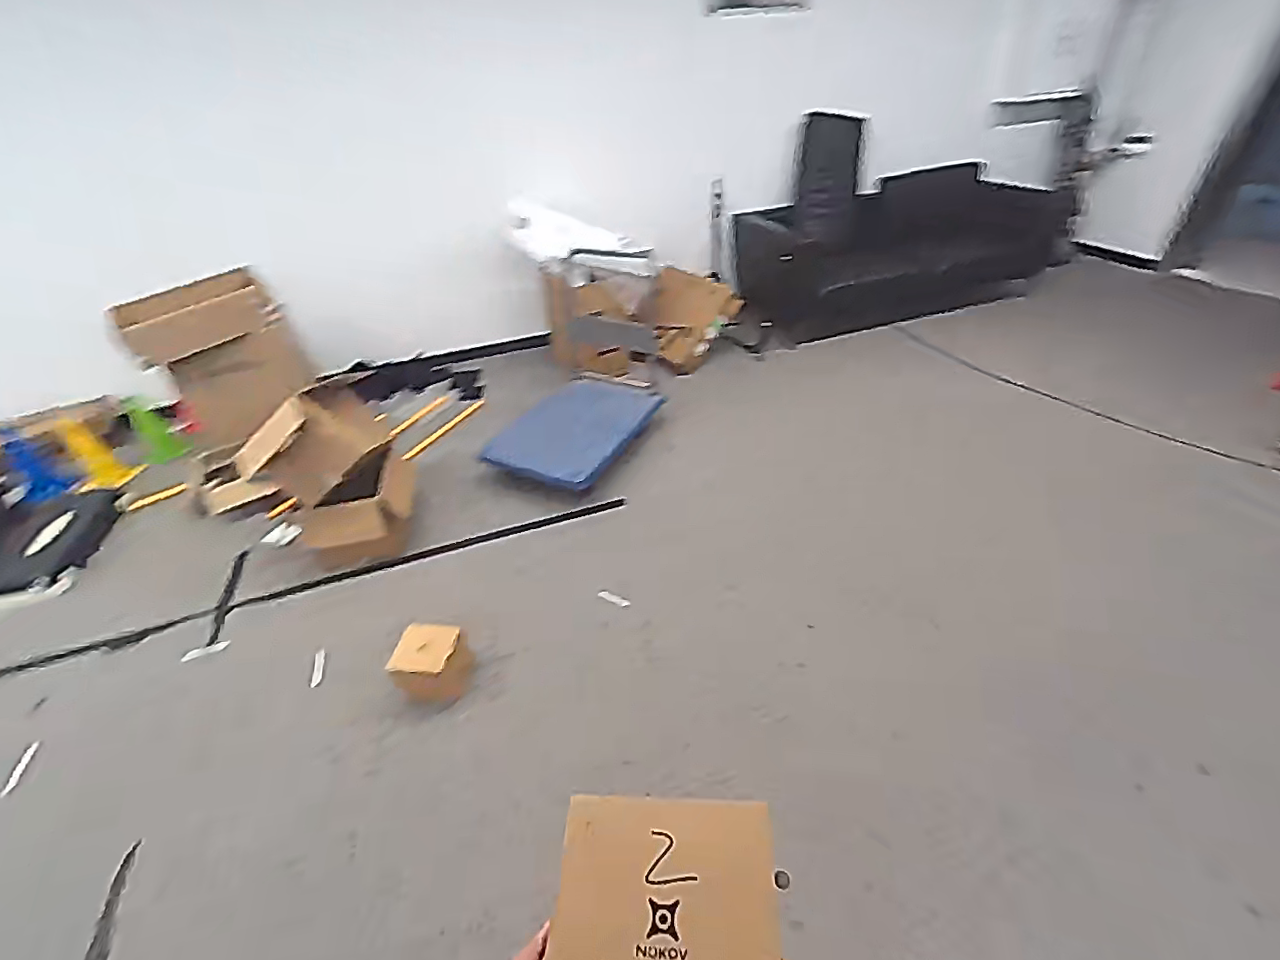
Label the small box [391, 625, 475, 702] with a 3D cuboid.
[{"bbox_3d":[-0.646,0.579,1.708,0.179,0.176,0.168,1,36,6],"label":"small box"}]
